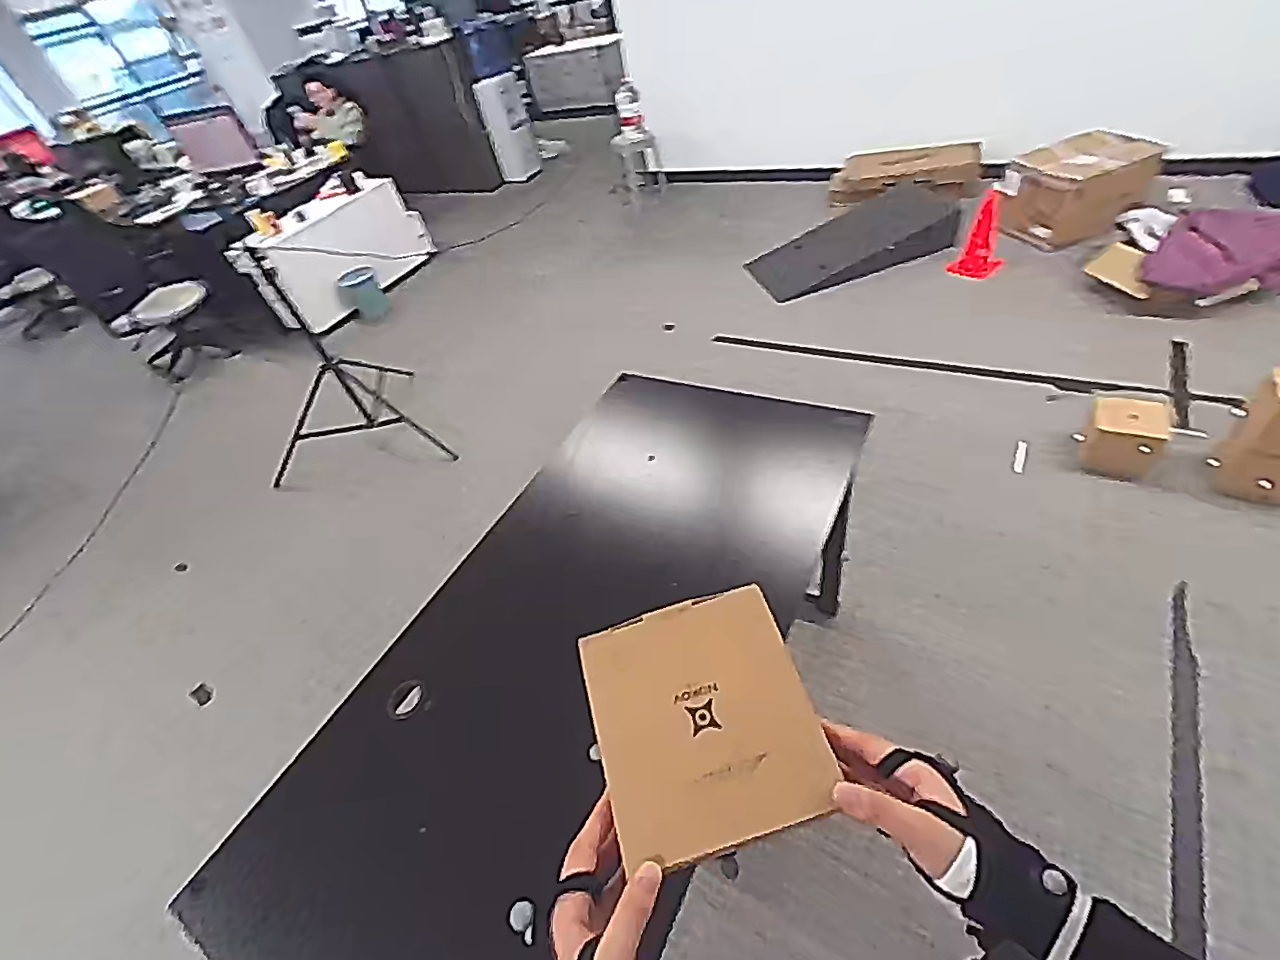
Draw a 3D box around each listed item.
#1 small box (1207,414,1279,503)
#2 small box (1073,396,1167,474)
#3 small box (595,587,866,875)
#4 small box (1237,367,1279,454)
[{"bbox_3d":[1.791,-0.062,1.559,0.168,0.176,0.179,18,55,28],"label":"small box"},{"bbox_3d":[1.507,-0.139,1.705,0.179,0.176,0.168,13,52,26],"label":"small box"},{"bbox_3d":[0.067,0.225,0.480,0.168,0.176,0.179,-16,55,-2],"label":"small box"},{"bbox_3d":[1.755,-0.175,1.442,0.179,0.176,0.168,17,54,27],"label":"small box"}]
